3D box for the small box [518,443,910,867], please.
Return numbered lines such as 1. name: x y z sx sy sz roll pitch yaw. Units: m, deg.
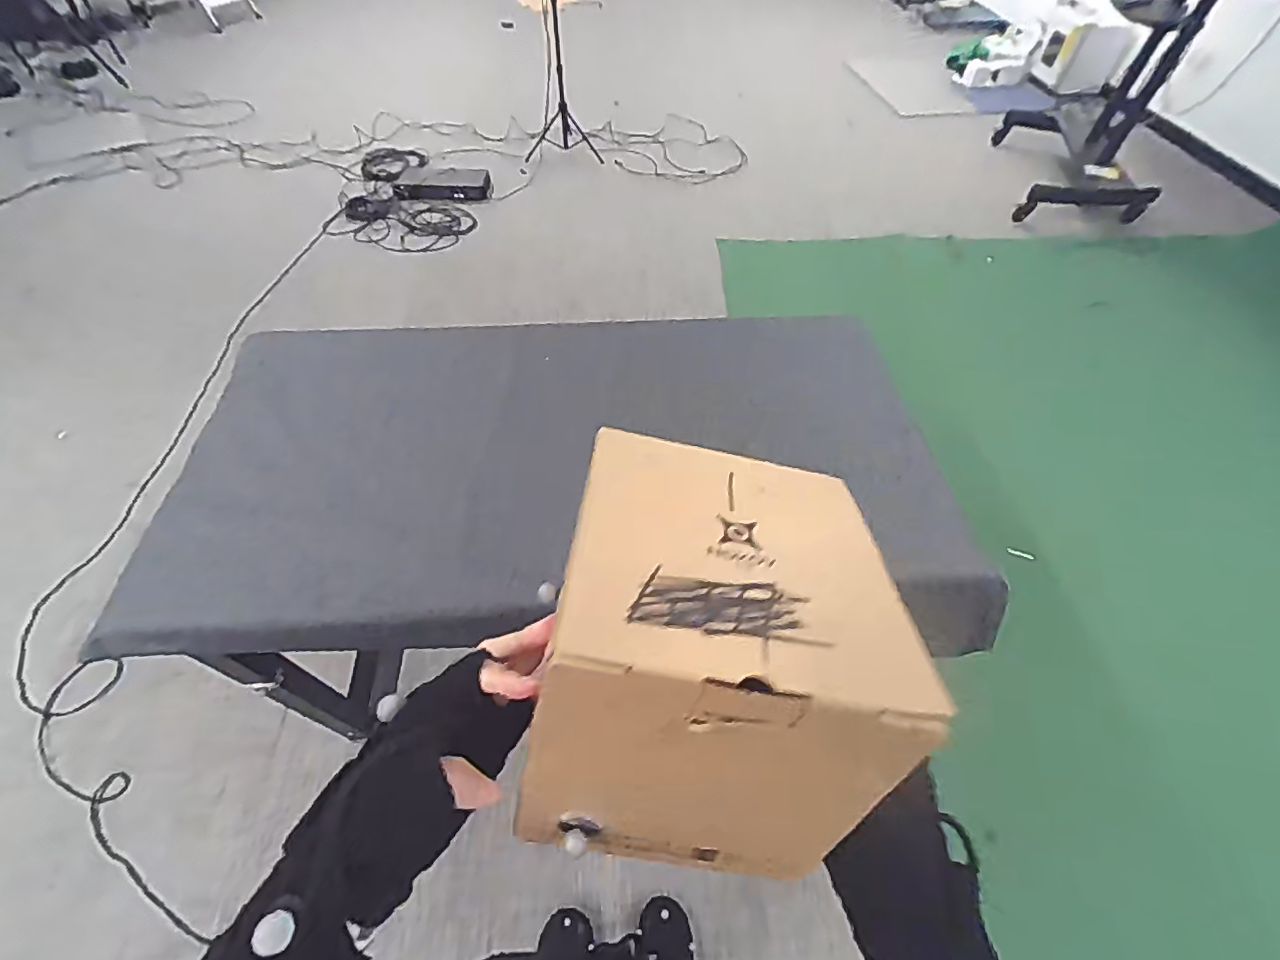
1. small box: 0.026 0.107 0.338 0.168 0.176 0.179 13 35 -5
